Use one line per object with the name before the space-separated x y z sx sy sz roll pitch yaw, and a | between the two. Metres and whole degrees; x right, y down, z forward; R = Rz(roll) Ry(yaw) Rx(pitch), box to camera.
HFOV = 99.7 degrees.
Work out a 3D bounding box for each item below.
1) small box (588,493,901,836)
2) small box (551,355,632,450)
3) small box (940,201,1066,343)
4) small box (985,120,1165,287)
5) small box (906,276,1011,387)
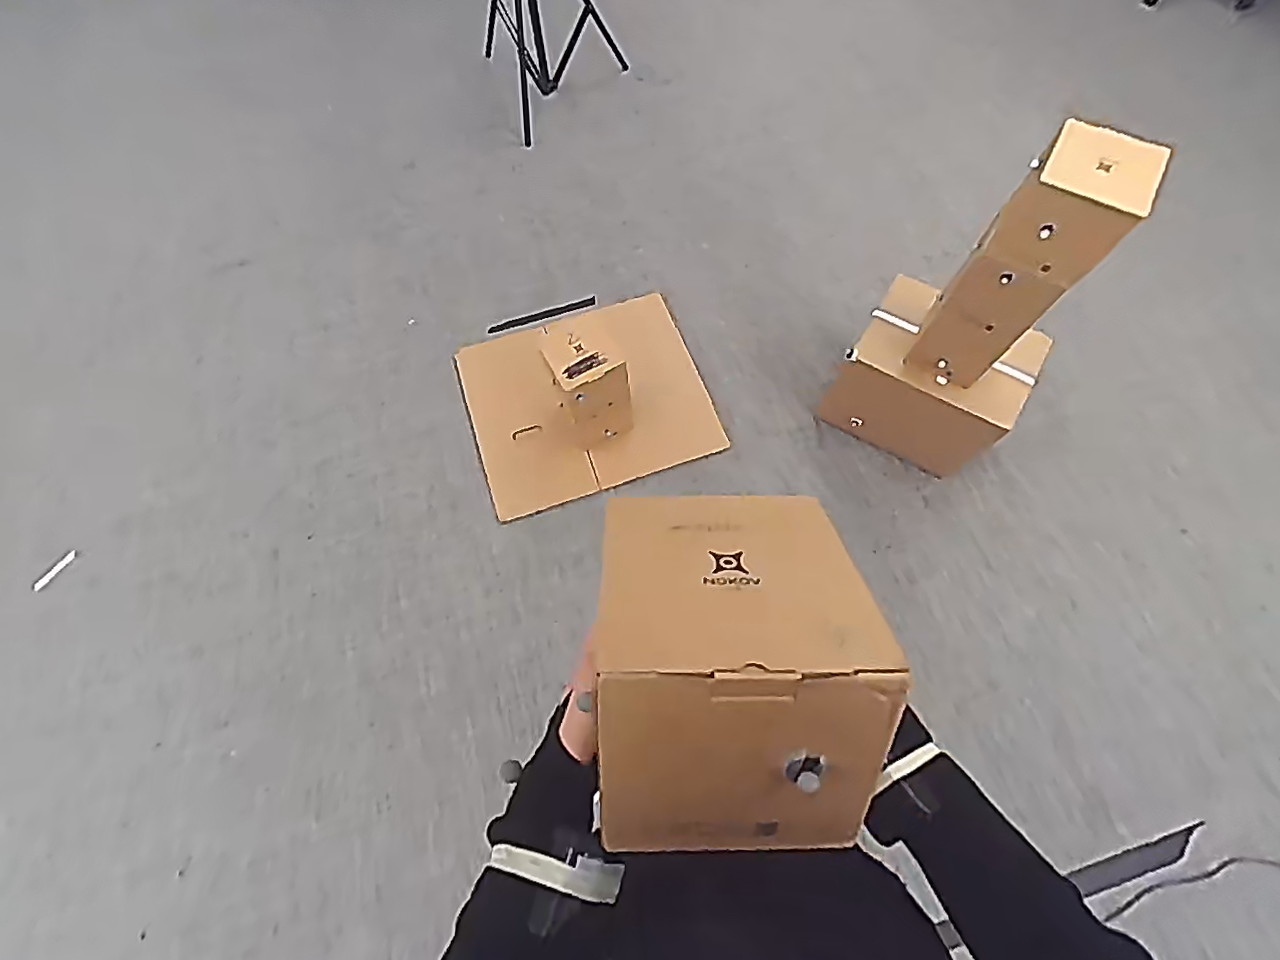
small box | 0.054 0.124 0.386 0.168 0.176 0.179 0 29 -1
small box | -0.133 -0.216 1.537 0.168 0.176 0.179 -27 70 -7
small box | 0.748 -0.417 1.100 0.168 0.176 0.179 29 70 13
small box | 0.746 -0.476 0.947 0.168 0.176 0.179 29 71 12
small box | 0.749 -0.352 1.250 0.168 0.176 0.179 29 72 12
